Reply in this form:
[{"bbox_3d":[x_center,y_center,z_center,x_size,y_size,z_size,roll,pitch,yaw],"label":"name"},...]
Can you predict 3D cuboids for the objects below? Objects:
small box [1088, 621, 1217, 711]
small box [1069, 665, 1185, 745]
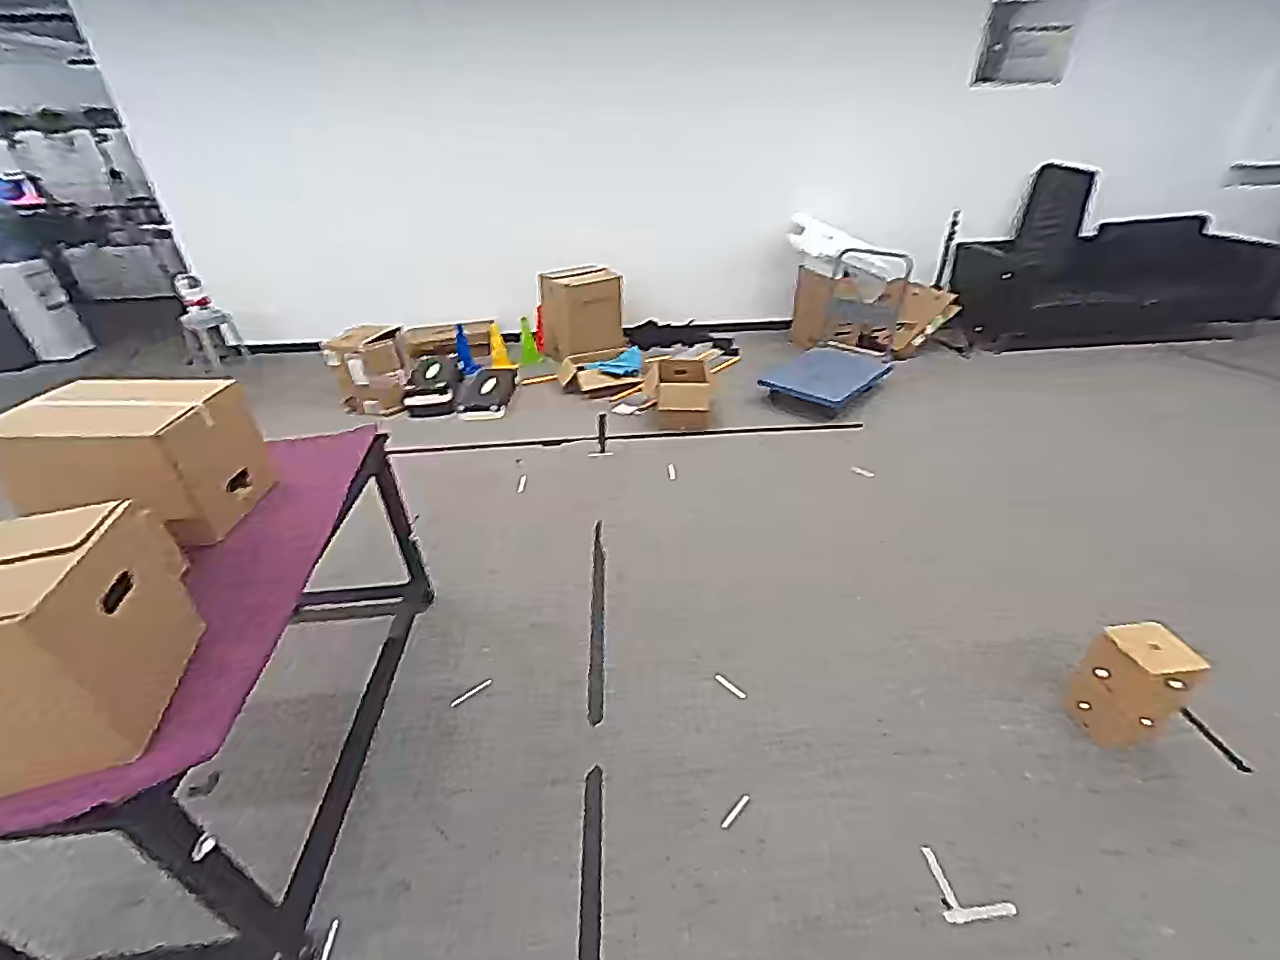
[{"bbox_3d":[1.427,0.525,1.522,0.179,0.176,0.168,-5,32,-4],"label":"small box"},{"bbox_3d":[1.431,0.662,1.609,0.179,0.176,0.168,-5,33,-6],"label":"small box"}]
